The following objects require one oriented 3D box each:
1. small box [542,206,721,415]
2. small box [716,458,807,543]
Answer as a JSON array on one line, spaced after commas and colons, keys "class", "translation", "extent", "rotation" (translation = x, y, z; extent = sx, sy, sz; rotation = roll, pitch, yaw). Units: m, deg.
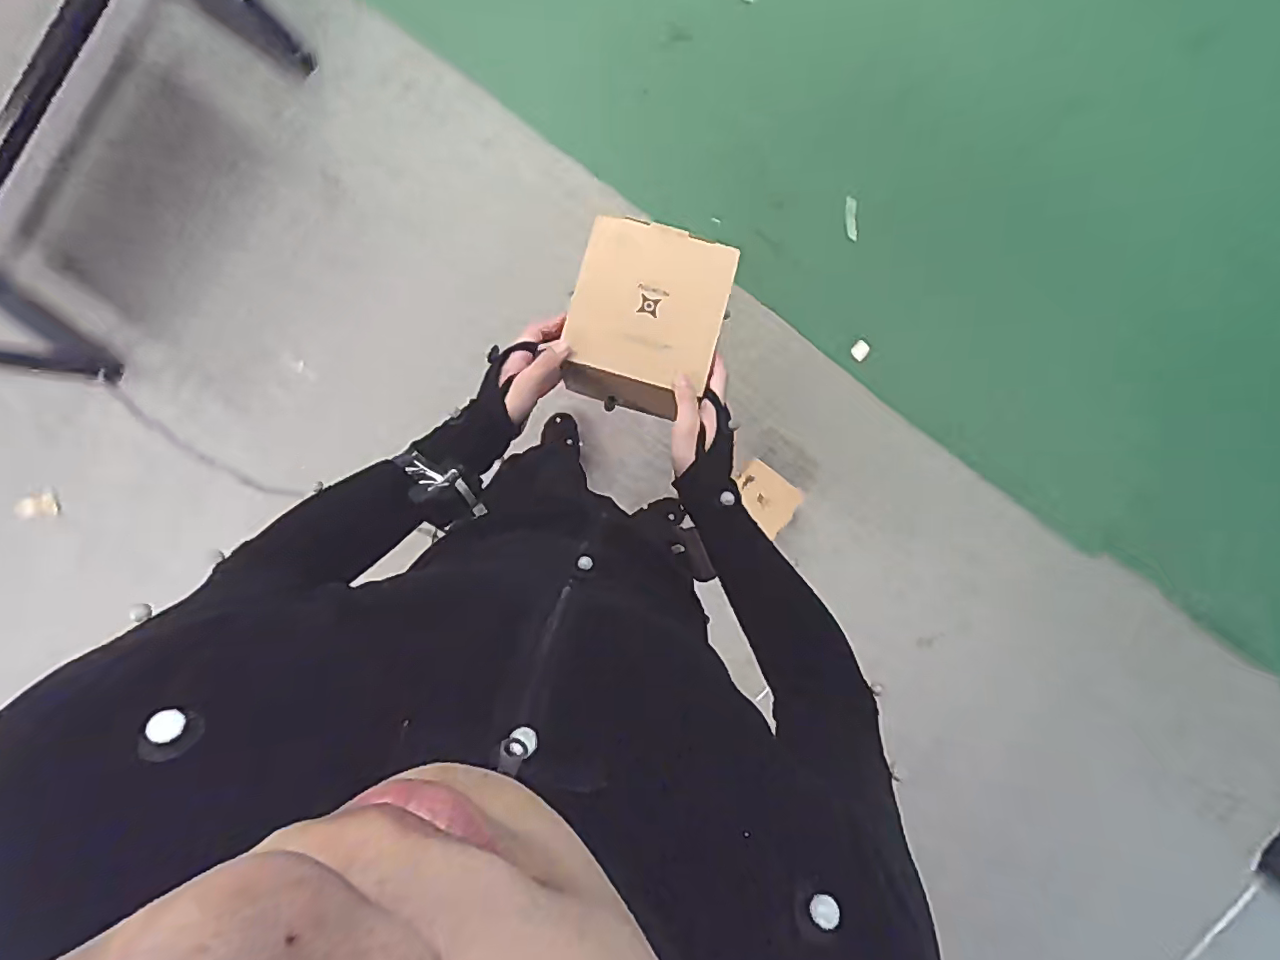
[{"class": "small box", "translation": [-0.012, -0.194, 0.668], "extent": [0.168, 0.176, 0.179], "rotation": [14, 87, -1]}, {"class": "small box", "translation": [0.334, 0.048, 1.528], "extent": [0.179, 0.176, 0.168], "rotation": [39, 95, 0]}]
